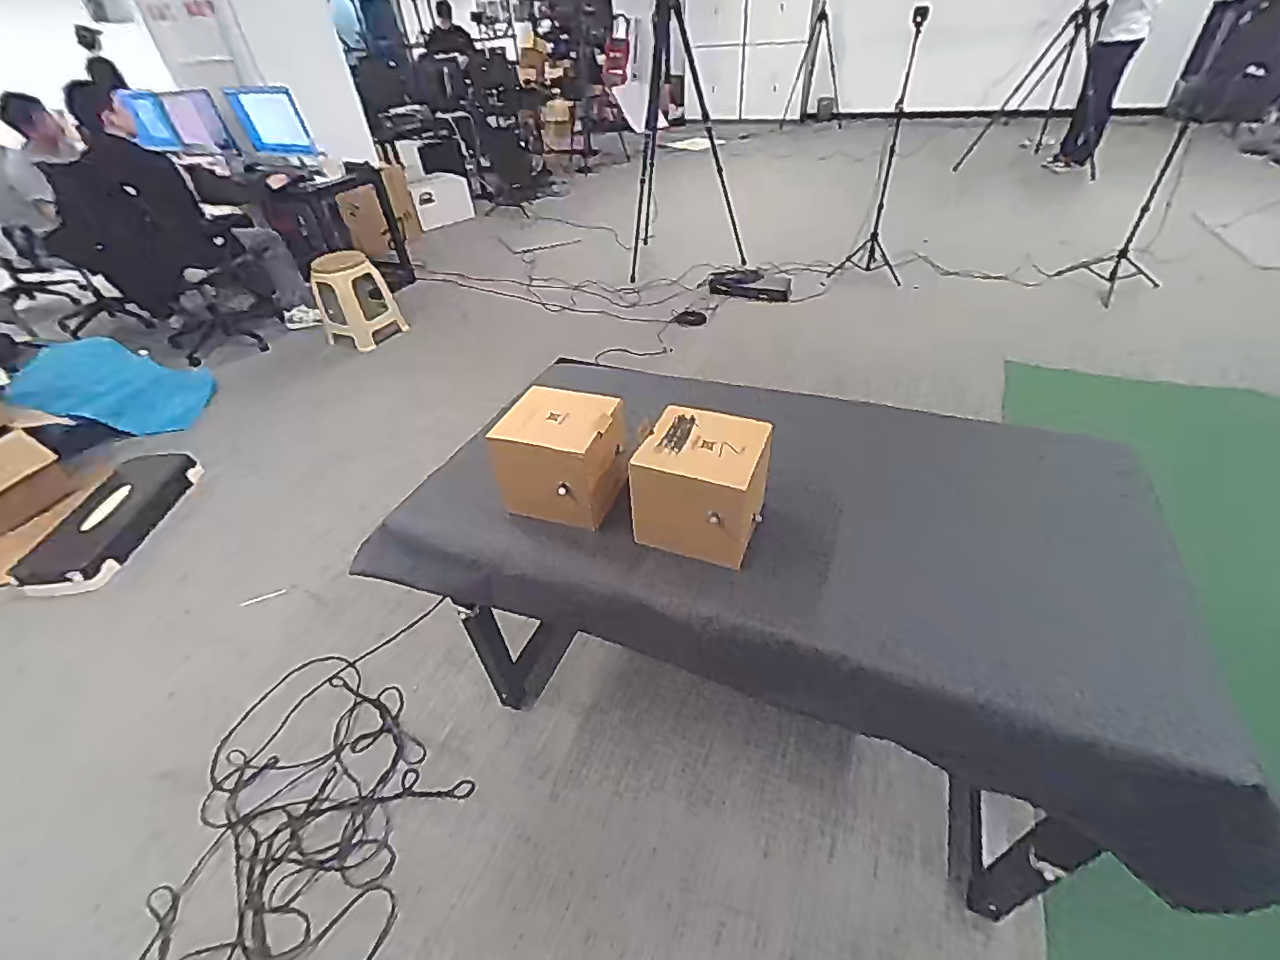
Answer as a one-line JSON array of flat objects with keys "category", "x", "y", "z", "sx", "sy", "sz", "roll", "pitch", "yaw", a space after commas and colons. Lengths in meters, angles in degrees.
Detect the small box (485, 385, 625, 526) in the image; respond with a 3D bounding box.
[{"category": "small box", "x": -0.133, "y": -0.041, "z": 0.934, "sx": 0.179, "sy": 0.176, "sz": 0.168, "roll": 10, "pitch": 41, "yaw": 17}]
